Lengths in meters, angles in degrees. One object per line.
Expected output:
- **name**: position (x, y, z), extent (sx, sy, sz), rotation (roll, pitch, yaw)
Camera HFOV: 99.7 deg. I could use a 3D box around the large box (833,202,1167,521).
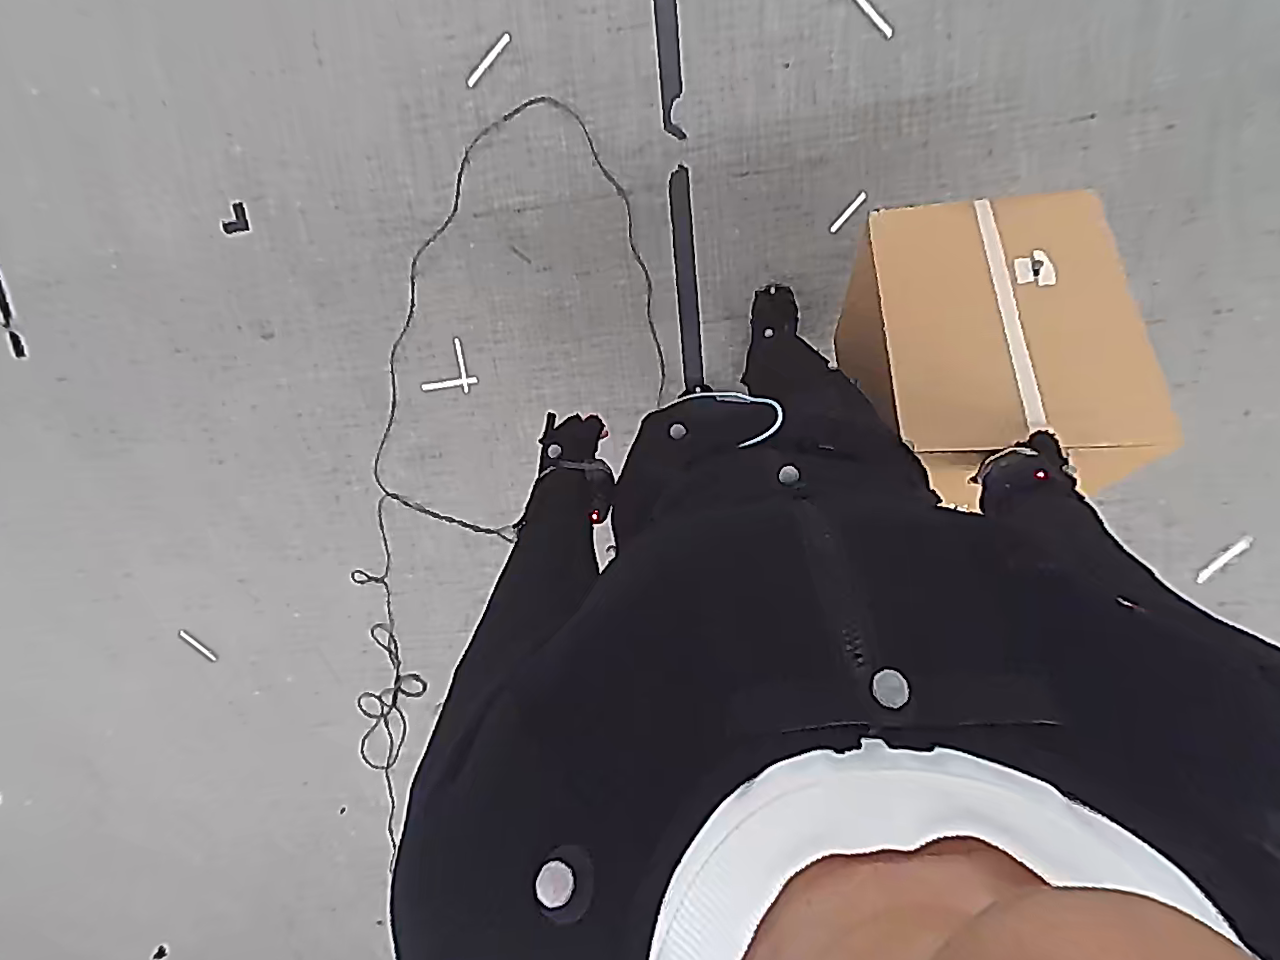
- **large box**: position (0.519, -0.170, 0.888), extent (0.320, 0.320, 0.408), rotation (-1, 68, 8)
